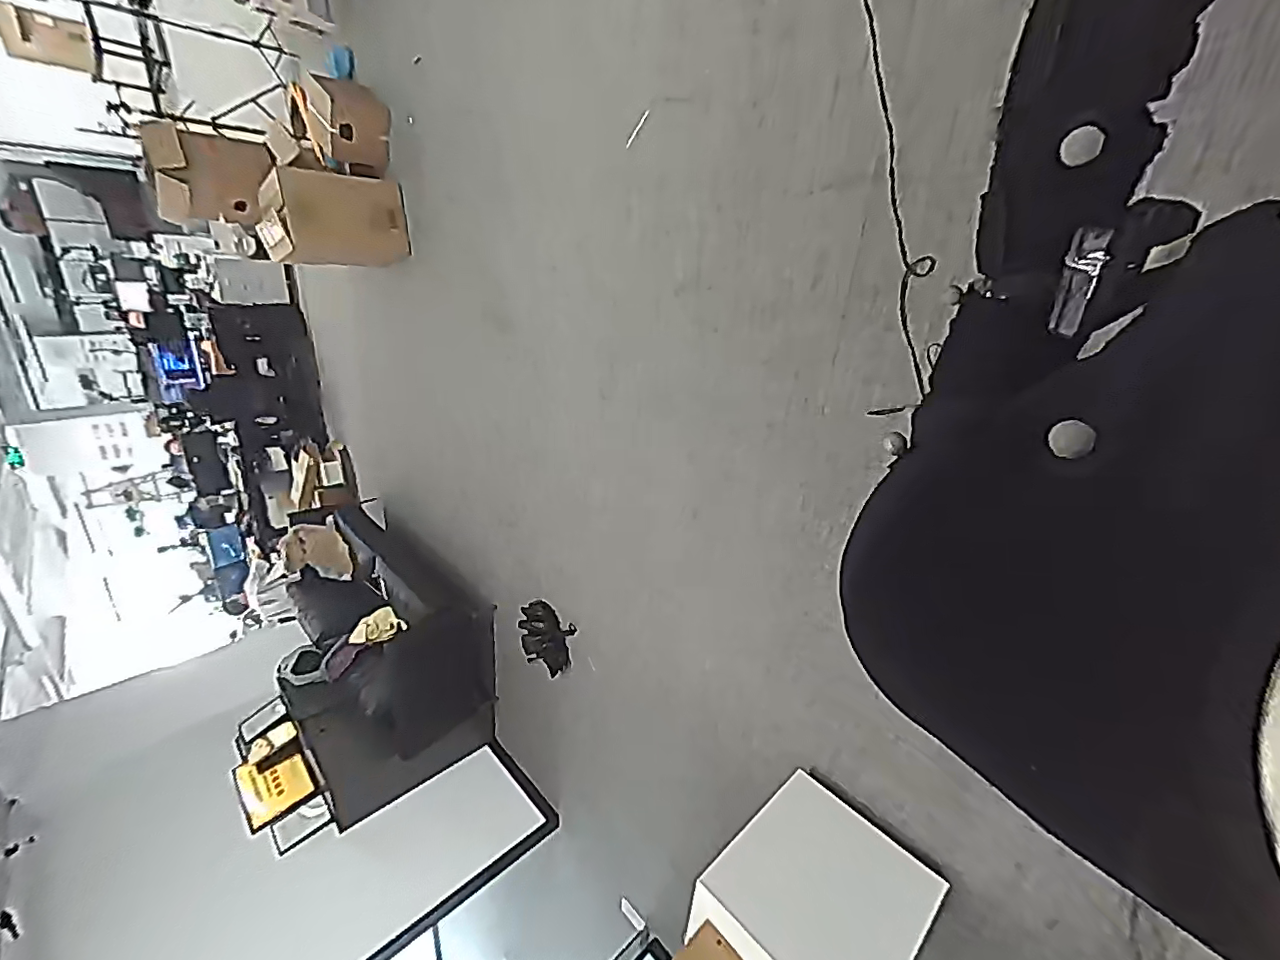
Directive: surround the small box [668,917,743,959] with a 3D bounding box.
[{"bbox_3d":[0.177,1.375,1.488,0.168,0.176,0.179,30,124,38],"label":"small box"}]
